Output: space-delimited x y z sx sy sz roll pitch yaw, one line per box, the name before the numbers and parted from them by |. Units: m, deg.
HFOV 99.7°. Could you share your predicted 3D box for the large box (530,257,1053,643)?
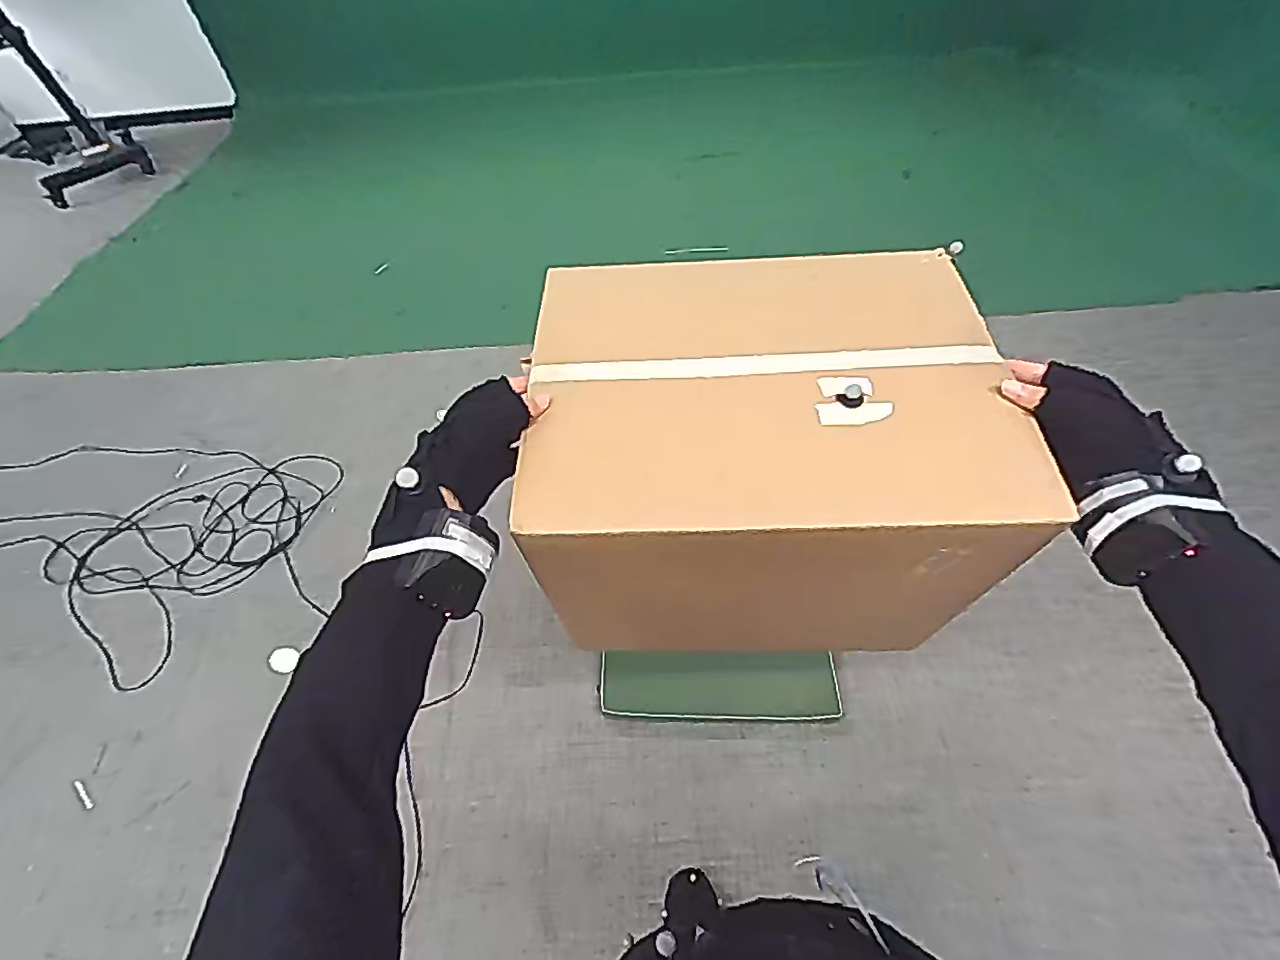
large box | 0.115 -0.016 0.611 0.408 0.320 0.320 -2 58 2
